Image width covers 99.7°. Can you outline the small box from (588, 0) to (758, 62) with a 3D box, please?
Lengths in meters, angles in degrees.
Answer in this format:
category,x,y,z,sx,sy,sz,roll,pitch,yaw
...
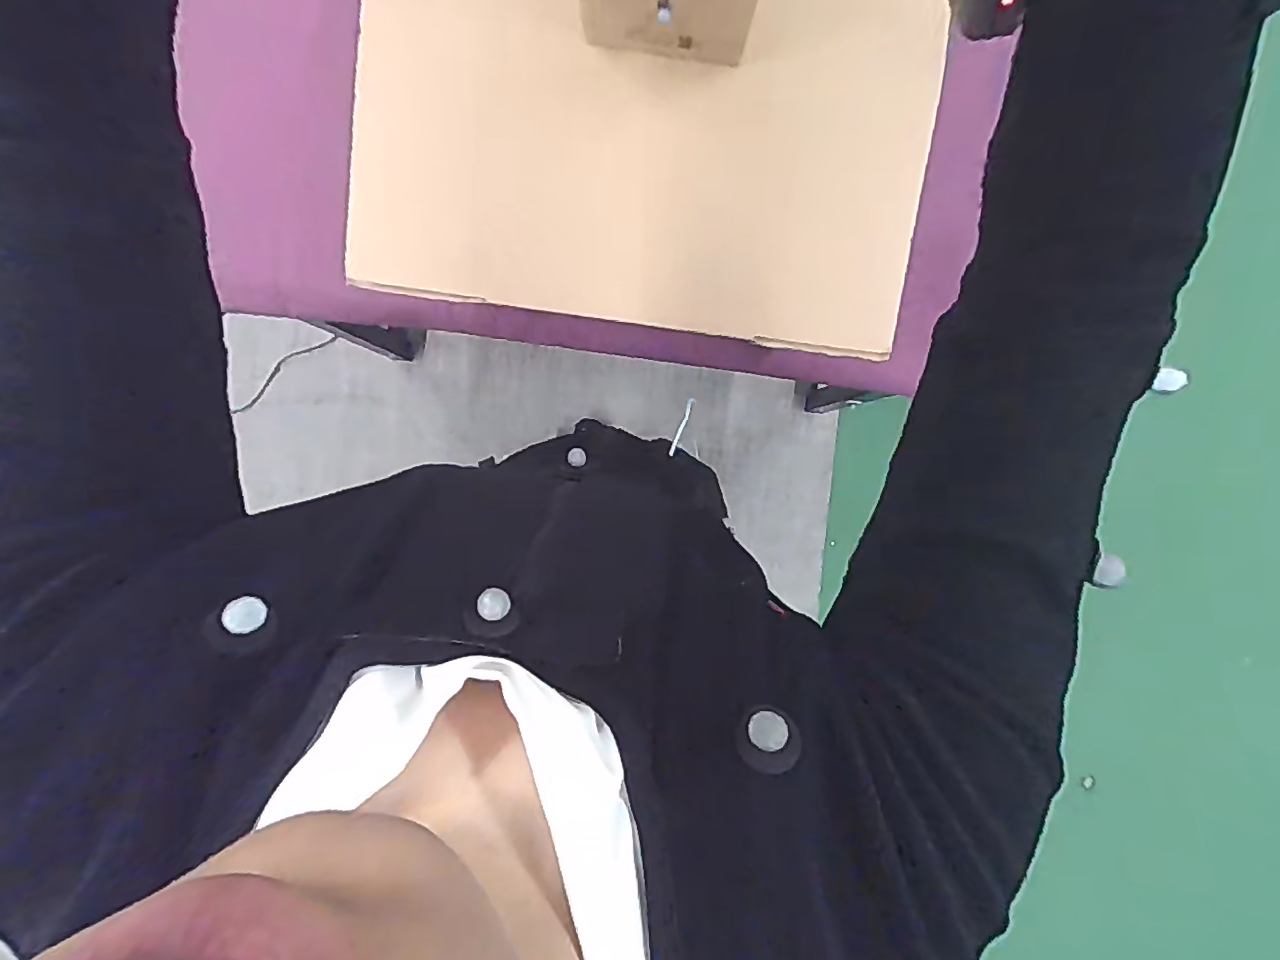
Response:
category,x,y,z,sx,sy,sz,roll,pitch,yaw
small box,0.039,-0.528,0.476,0.168,0.176,0.179,8,90,-2
